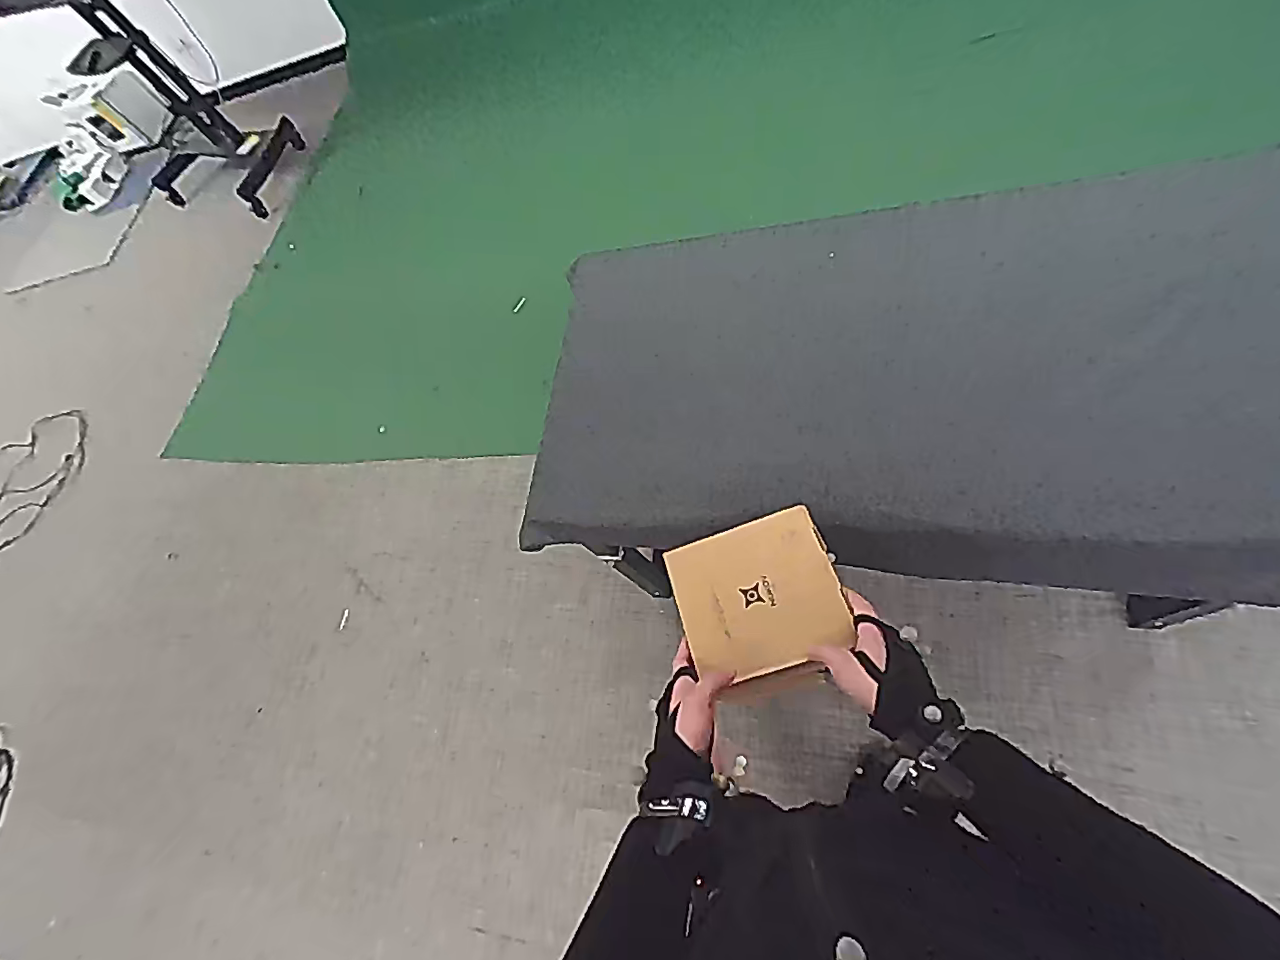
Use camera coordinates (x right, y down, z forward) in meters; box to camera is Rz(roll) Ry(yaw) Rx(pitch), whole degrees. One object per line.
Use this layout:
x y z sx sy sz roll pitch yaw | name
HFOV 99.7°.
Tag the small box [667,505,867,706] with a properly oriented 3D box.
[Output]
0.150 0.157 0.646 0.179 0.176 0.168 -20 56 10 | small box
